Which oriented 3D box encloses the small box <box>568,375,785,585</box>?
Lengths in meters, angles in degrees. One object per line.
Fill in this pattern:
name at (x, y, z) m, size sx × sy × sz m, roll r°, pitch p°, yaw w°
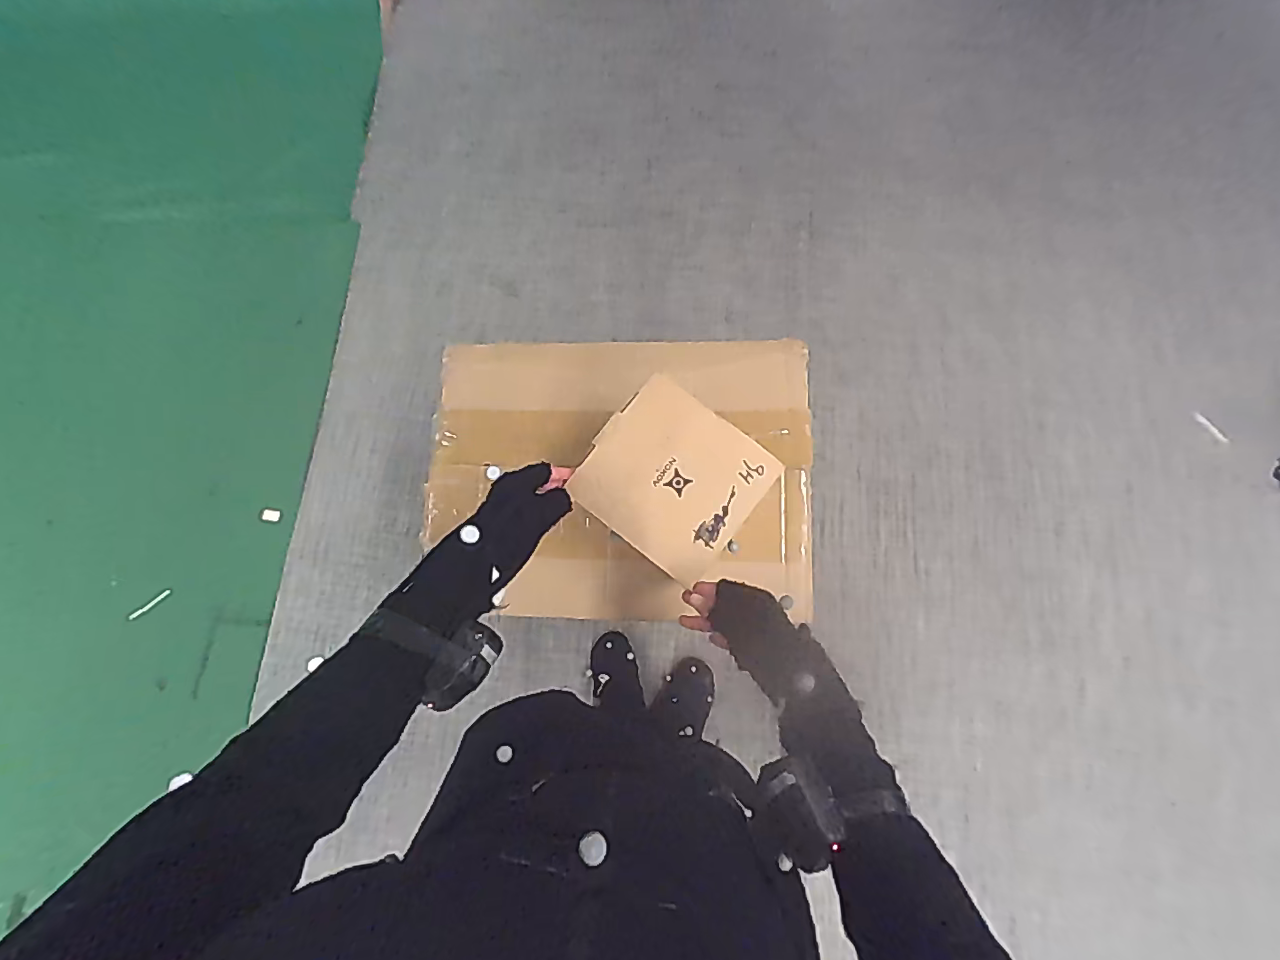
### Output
small box at (0.043, 0.008, 0.652) m, size 0.179 × 0.176 × 0.168 m, roll 36°, pitch 87°, yaw 8°
